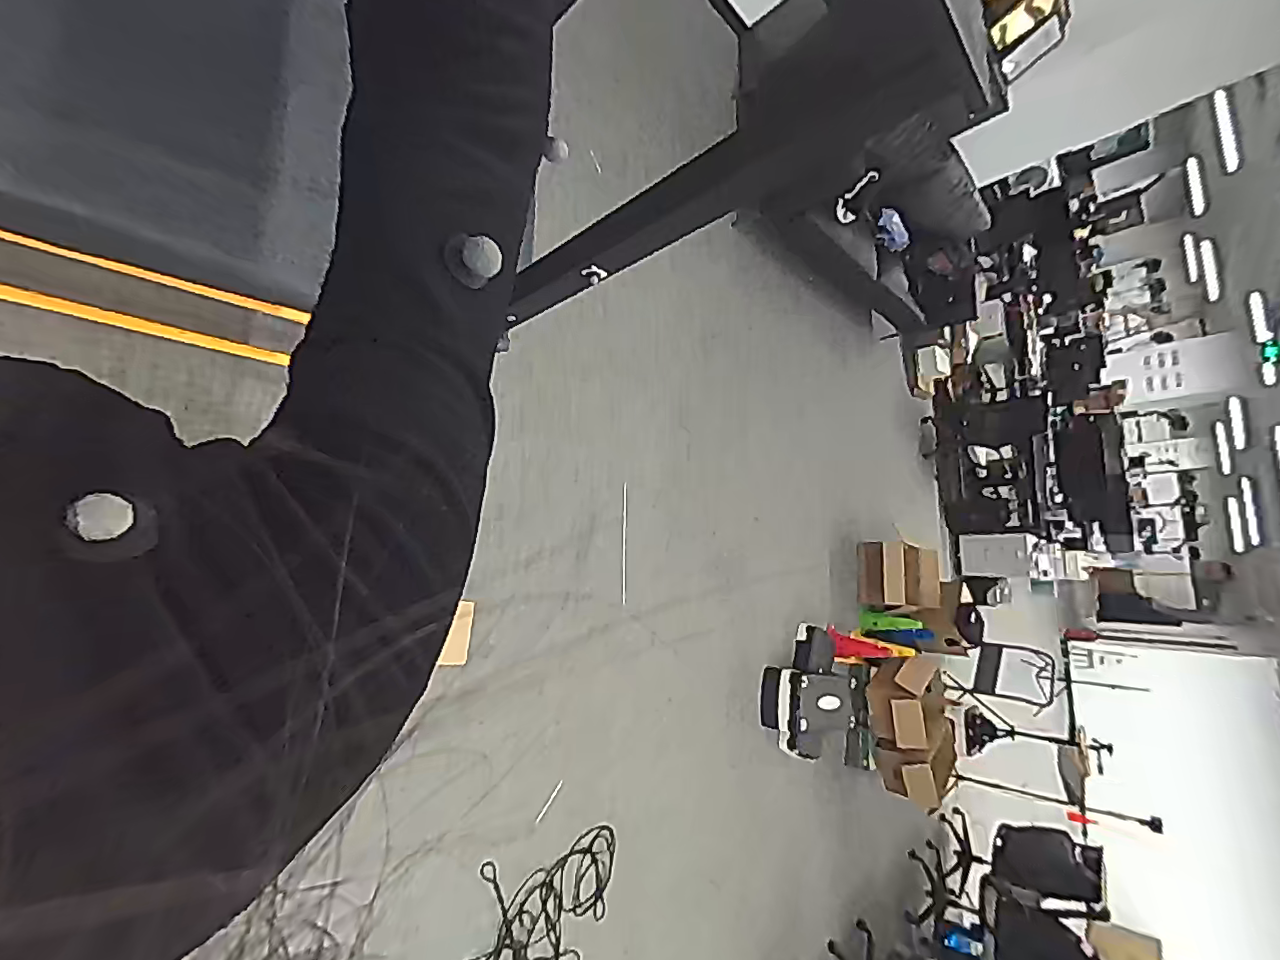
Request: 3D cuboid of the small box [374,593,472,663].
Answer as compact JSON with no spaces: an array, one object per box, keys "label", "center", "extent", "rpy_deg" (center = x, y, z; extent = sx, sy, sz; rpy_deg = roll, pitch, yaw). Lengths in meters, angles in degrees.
[{"label":"small box","center":[-0.581,0.395,1.450],"extent":[0.179,0.176,0.168],"rpy_deg":[18,71,-43]}]
